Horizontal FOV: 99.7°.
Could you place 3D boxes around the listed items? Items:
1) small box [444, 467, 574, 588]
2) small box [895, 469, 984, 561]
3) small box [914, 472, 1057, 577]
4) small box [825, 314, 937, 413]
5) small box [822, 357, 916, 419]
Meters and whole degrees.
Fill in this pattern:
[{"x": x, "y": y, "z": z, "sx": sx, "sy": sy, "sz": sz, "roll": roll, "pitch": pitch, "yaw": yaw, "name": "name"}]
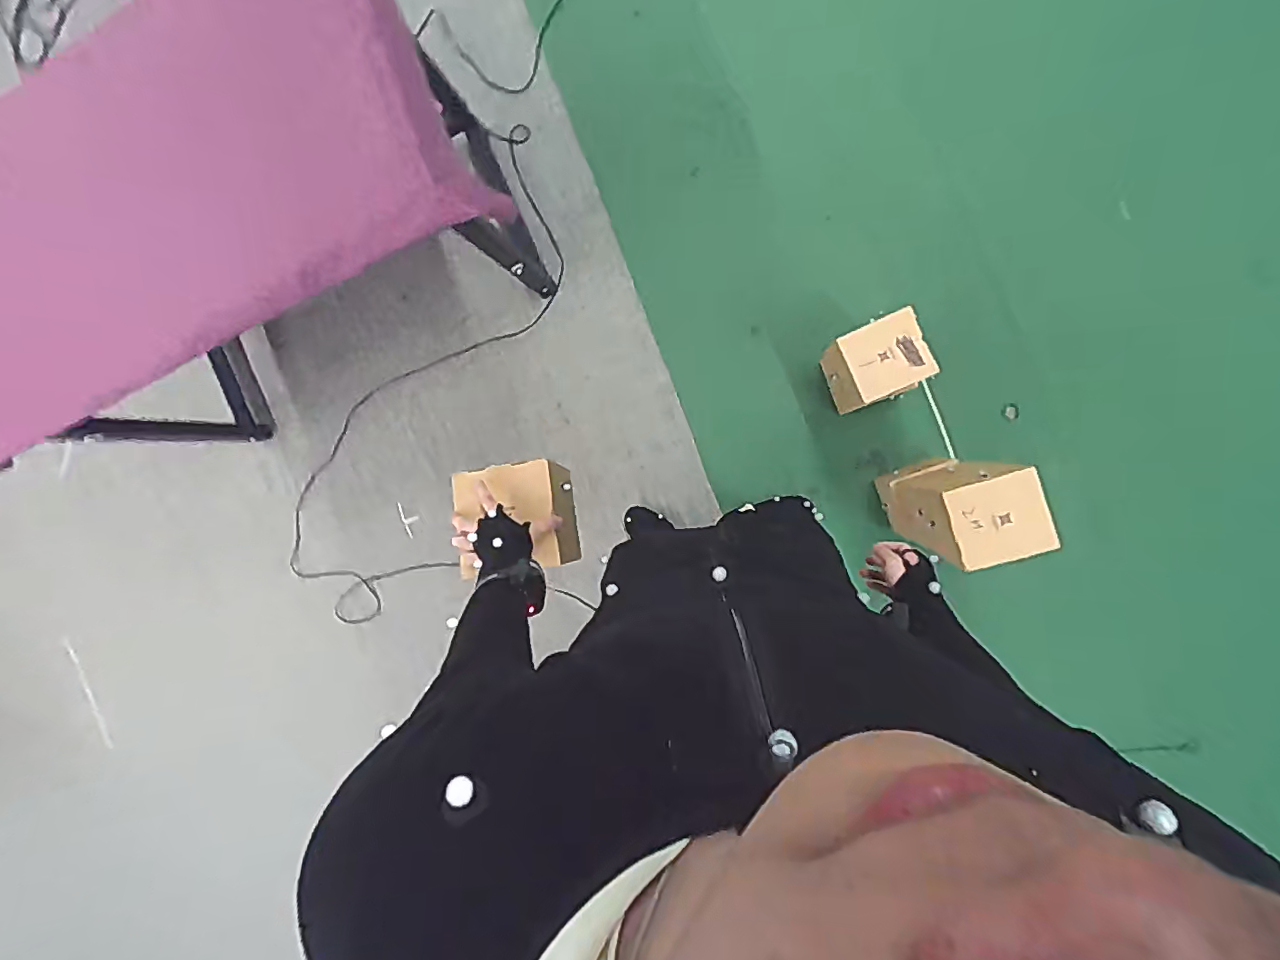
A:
[{"x": -0.220, "y": 0.084, "z": 0.942, "sx": 0.168, "sy": 0.176, "sz": 0.179, "roll": -10, "pitch": 83, "yaw": 5, "name": "small box"}, {"x": 0.735, "y": 0.076, "z": 1.280, "sx": 0.179, "sy": 0.176, "sz": 0.168, "roll": -17, "pitch": 90, "yaw": 10, "name": "small box"}, {"x": 0.703, "y": 0.084, "z": 1.119, "sx": 0.179, "sy": 0.176, "sz": 0.168, "roll": -17, "pitch": 90, "yaw": 11, "name": "small box"}, {"x": 0.566, "y": -0.270, "z": 1.293, "sx": 0.179, "sy": 0.176, "sz": 0.168, "roll": -23, "pitch": 88, "yaw": 10, "name": "small box"}, {"x": 0.603, "y": -0.272, "z": 1.453, "sx": 0.179, "sy": 0.176, "sz": 0.168, "roll": -20, "pitch": 89, "yaw": 9, "name": "small box"}]
